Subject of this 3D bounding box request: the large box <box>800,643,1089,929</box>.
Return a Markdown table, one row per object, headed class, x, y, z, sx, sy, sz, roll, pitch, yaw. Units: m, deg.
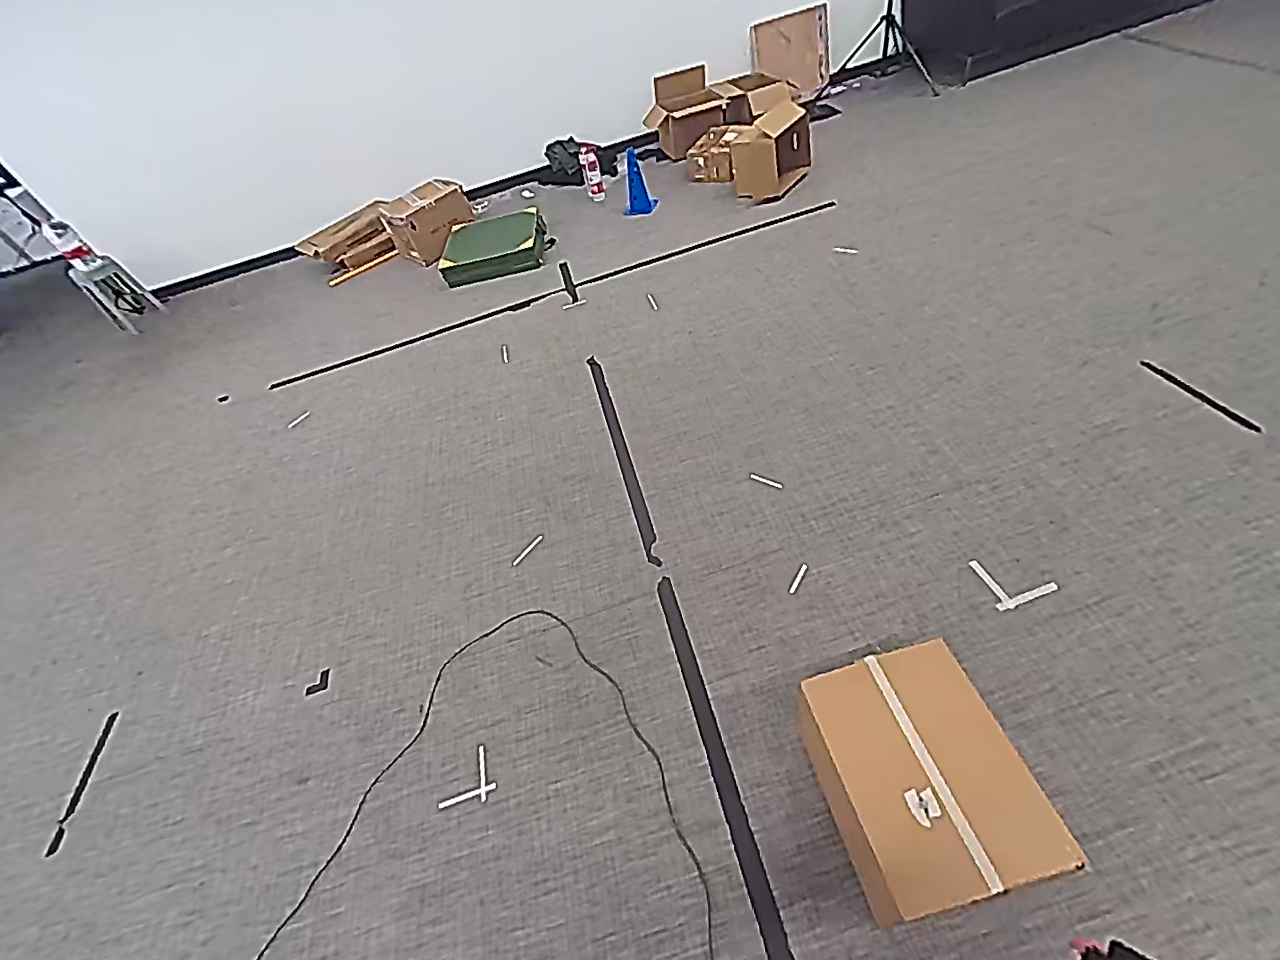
| class | x | y | z | sx | sy | sz | roll | pitch | yaw |
| --- | --- | --- | --- | --- | --- | --- | --- | --- | --- |
| large box | 0.557 | 0.616 | 1.103 | 0.320 | 0.320 | 0.408 | -18 | 48 | 0 |
